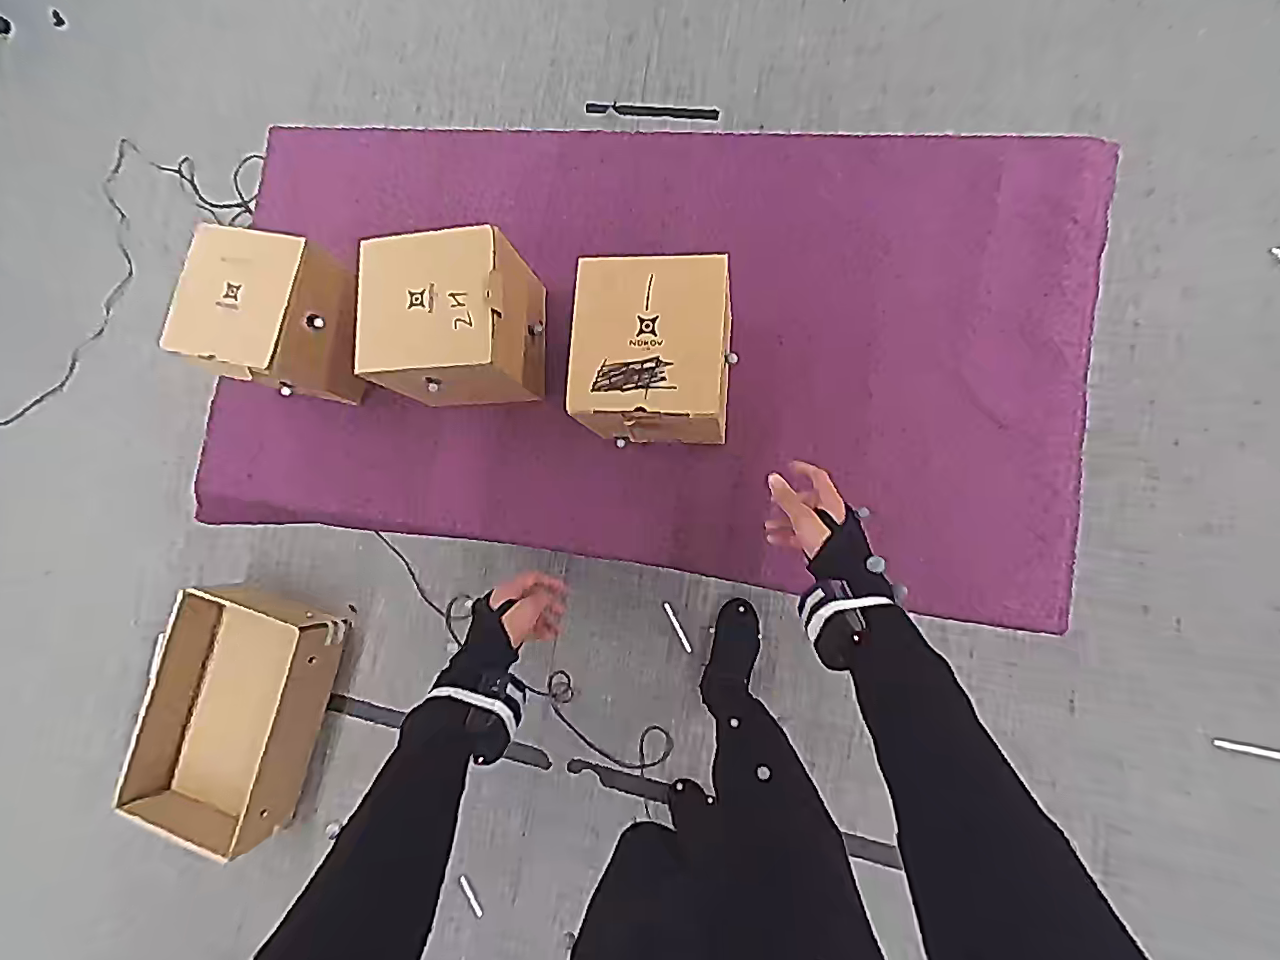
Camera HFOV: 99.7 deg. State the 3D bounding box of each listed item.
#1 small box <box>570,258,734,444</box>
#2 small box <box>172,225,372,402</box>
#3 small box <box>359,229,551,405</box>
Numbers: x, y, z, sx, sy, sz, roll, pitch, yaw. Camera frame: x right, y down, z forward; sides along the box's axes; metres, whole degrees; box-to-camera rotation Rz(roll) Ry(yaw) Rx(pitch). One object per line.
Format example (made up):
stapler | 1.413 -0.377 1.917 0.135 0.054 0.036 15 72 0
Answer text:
small box | 0.025 -0.142 0.652 0.168 0.176 0.179 3 83 11
small box | -0.484 -0.220 0.755 0.168 0.176 0.179 13 86 11
small box | -0.229 -0.197 0.704 0.179 0.176 0.168 -1 84 10
